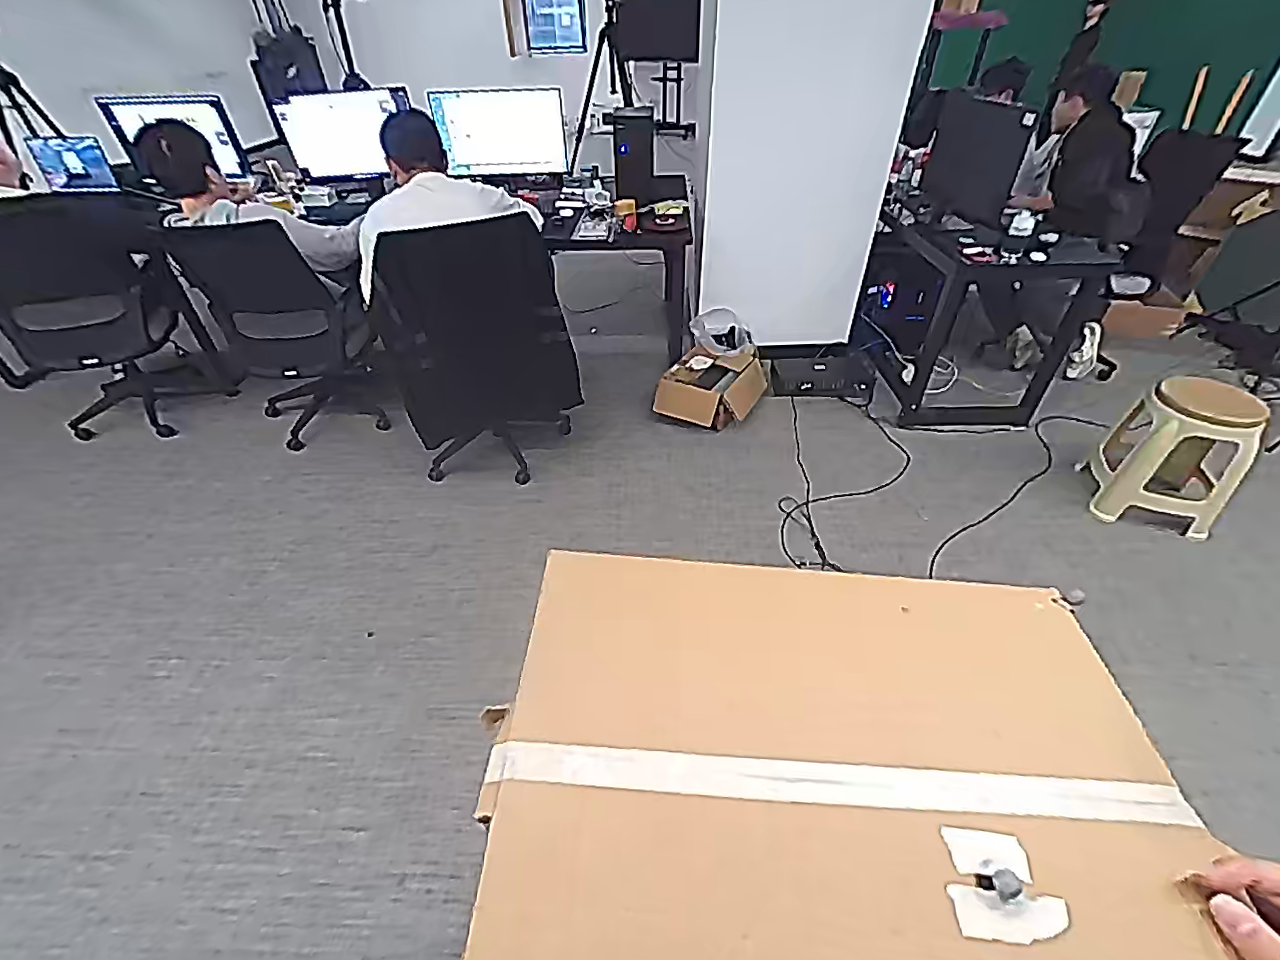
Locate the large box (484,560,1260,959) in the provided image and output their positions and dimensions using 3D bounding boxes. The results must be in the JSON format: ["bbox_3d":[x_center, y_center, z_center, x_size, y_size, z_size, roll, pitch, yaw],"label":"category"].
[{"bbox_3d":[0.111,0.291,0.429,0.408,0.320,0.320,5,45,-1],"label":"large box"}]
